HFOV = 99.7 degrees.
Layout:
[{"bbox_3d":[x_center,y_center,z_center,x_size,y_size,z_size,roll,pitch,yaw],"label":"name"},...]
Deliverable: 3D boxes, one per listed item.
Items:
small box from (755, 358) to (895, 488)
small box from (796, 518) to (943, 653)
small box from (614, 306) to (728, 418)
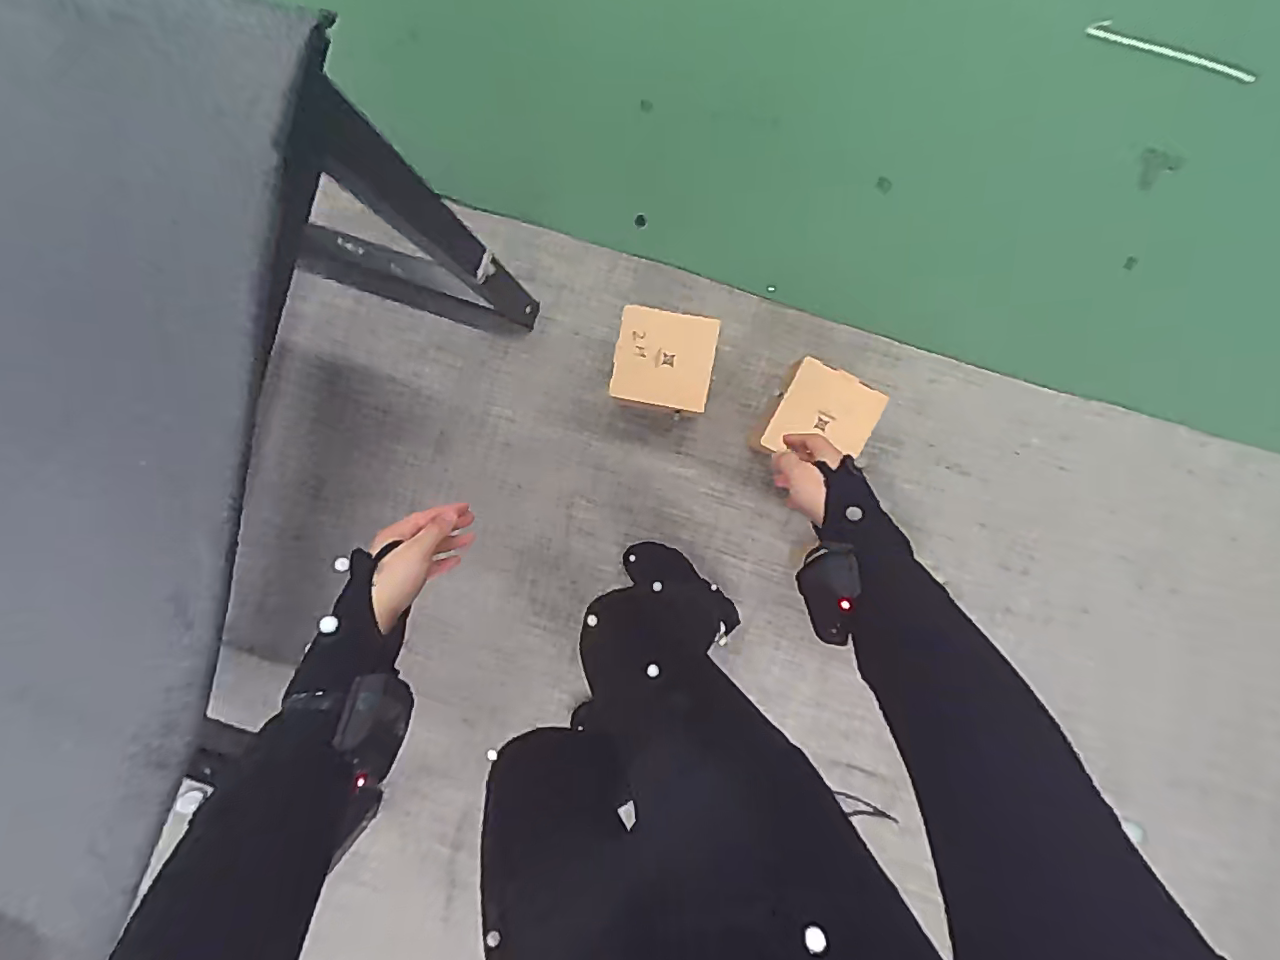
[{"bbox_3d":[0.333,-0.104,1.016,0.168,0.176,0.179,28,95,1],"label":"small box"},{"bbox_3d":[0.425,0.190,1.029,0.168,0.176,0.179,-33,90,5],"label":"small box"},{"bbox_3d":[0.057,-0.213,1.026,0.179,0.176,0.168,11,93,3],"label":"small box"}]
